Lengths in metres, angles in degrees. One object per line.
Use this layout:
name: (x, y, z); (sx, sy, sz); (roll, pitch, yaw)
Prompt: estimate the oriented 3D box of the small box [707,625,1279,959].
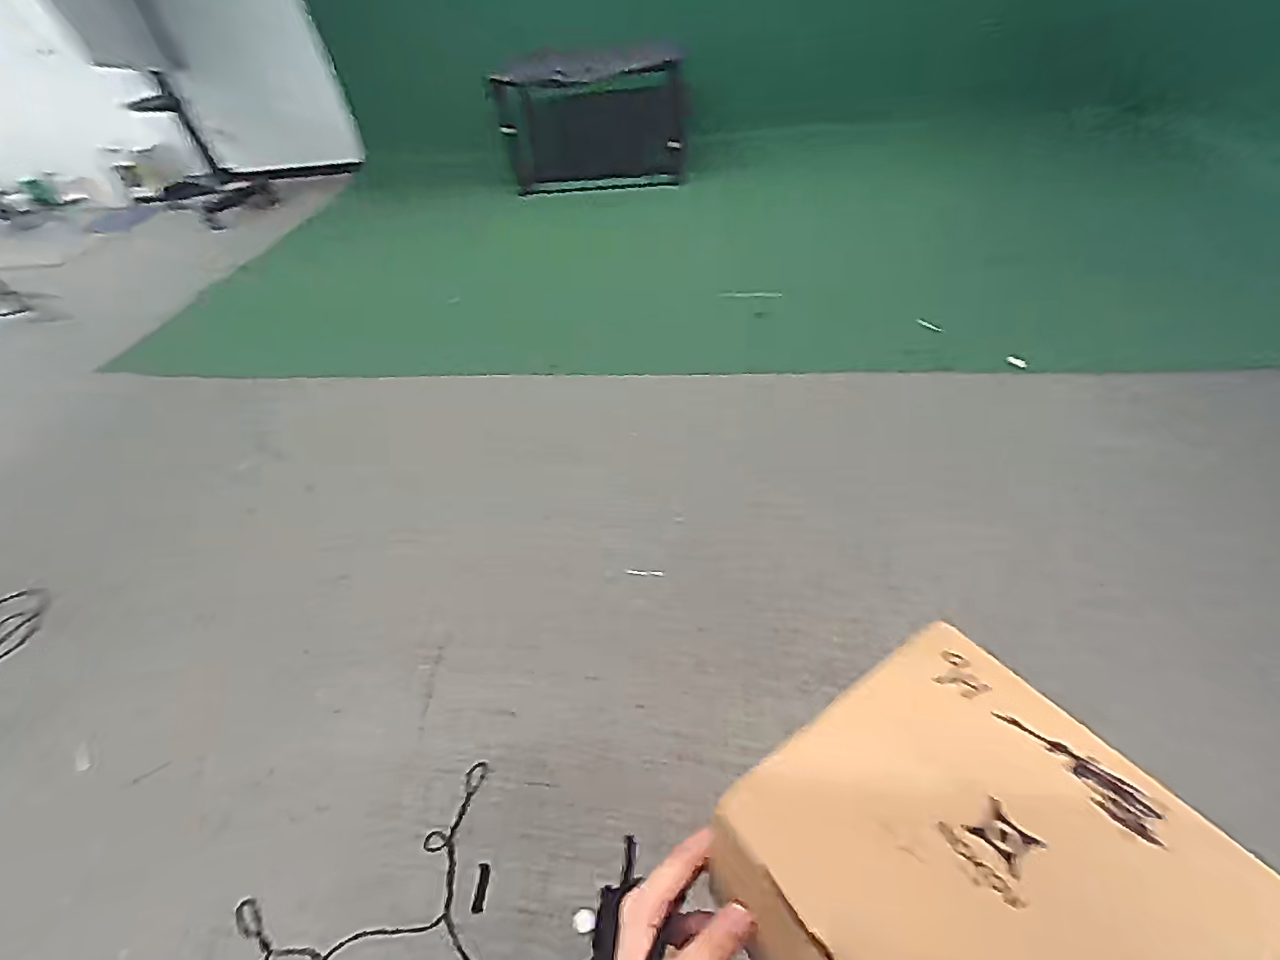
small box: (0.155, 0.224, 0.296); (0.179, 0.176, 0.168); (-26, 46, -22)
